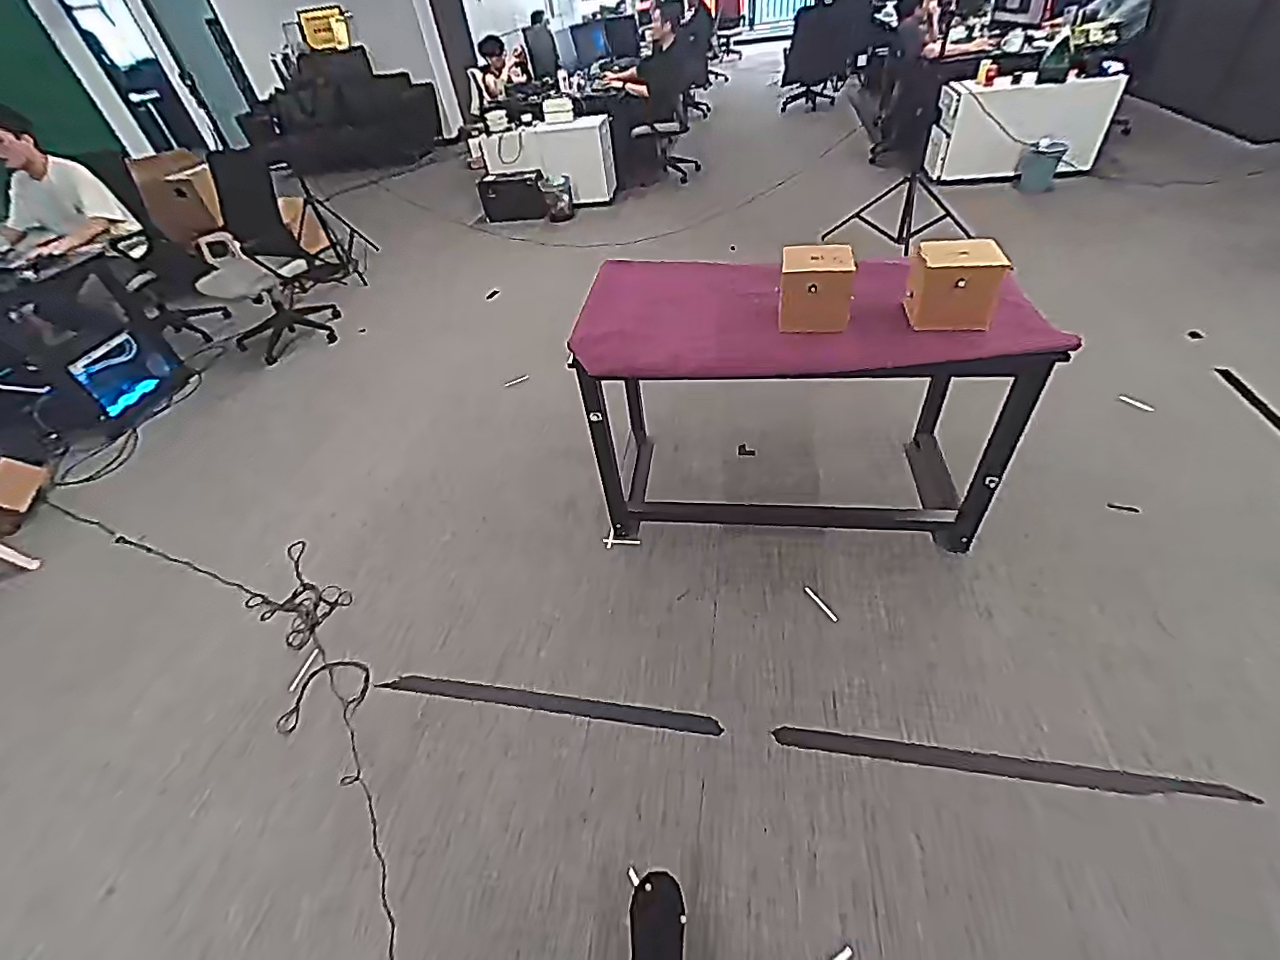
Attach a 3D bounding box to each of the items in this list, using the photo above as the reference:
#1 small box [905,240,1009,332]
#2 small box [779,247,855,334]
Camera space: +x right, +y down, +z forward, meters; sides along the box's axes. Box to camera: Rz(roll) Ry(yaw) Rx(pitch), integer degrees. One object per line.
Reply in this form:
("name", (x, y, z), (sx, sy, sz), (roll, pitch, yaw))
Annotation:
("small box", (0.792, -0.488, 1.370), (0.179, 0.176, 0.168), (3, 43, 13))
("small box", (0.463, -0.501, 1.437), (0.179, 0.176, 0.168), (4, 45, 12))
